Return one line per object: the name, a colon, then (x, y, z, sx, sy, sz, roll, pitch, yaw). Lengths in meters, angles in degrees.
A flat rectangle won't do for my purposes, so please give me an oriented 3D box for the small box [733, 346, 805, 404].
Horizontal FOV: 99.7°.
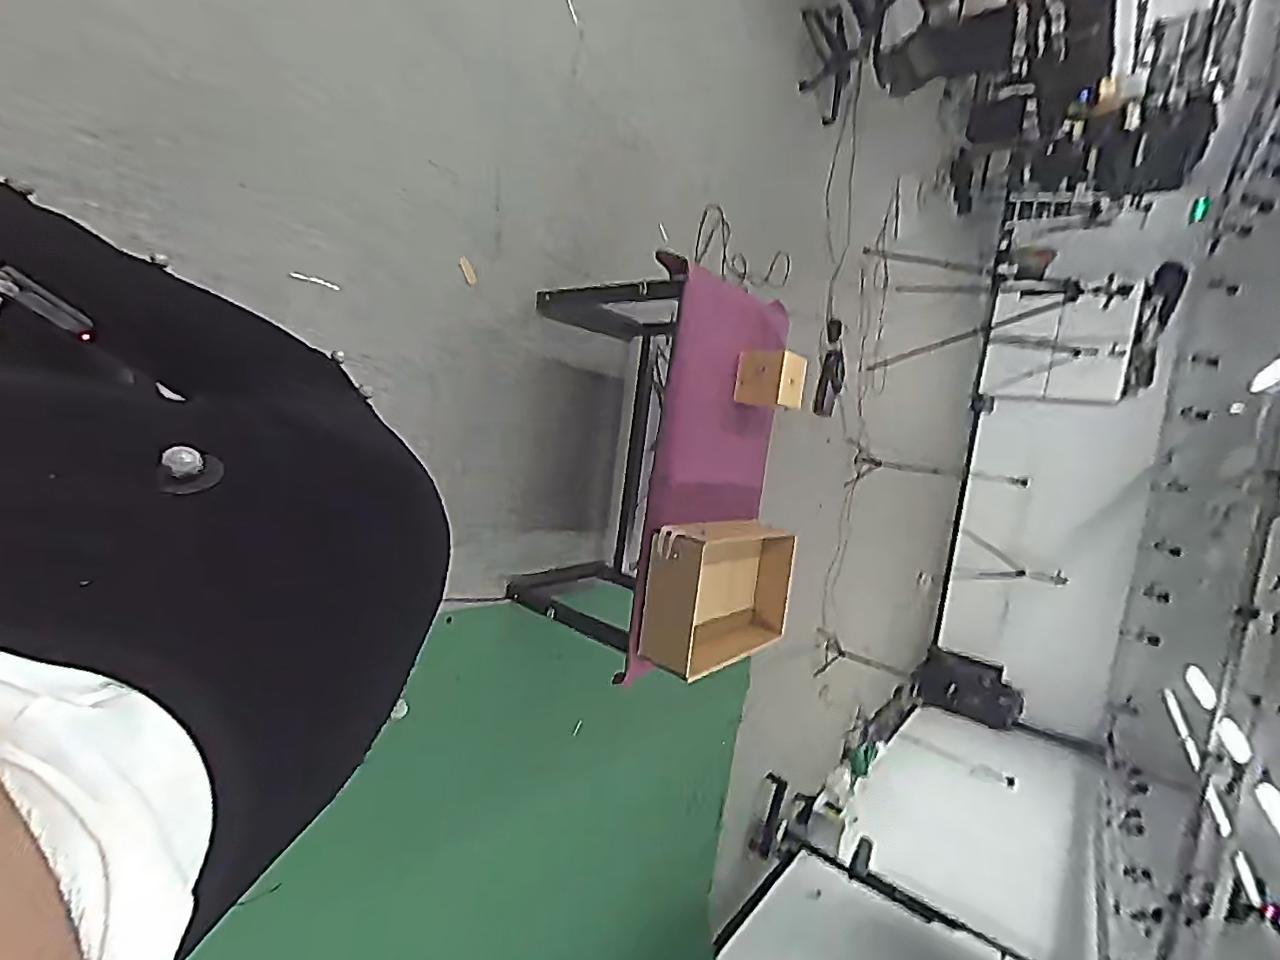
small box: (0.428, -0.347, 1.801, 0.179, 0.176, 0.168, -1, 100, -51)
